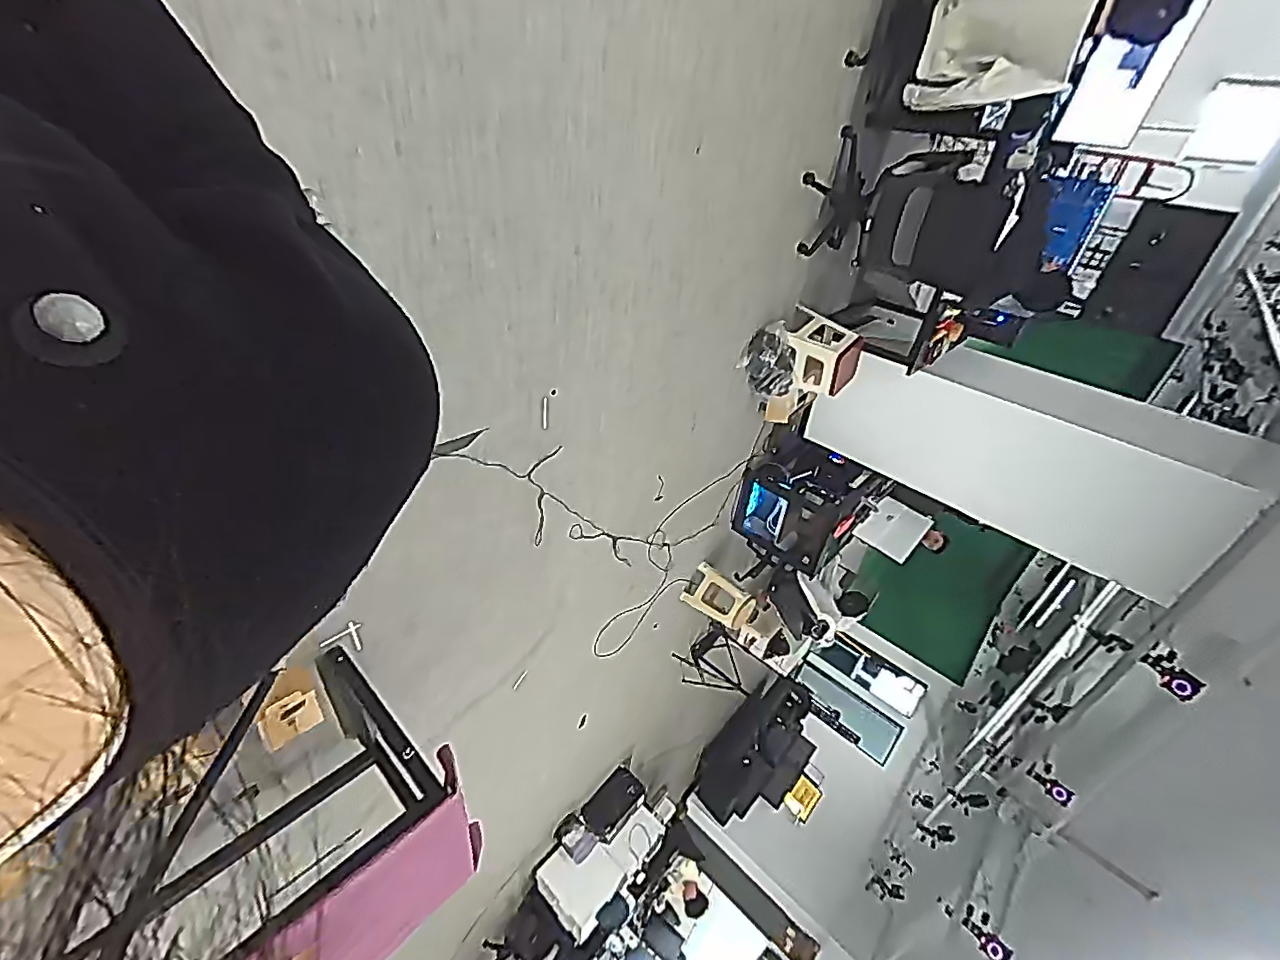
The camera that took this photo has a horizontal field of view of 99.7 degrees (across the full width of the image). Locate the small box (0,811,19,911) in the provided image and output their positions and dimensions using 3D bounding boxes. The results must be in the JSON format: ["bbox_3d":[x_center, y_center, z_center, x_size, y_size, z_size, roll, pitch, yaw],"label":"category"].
[{"bbox_3d":[-1.617,0.939,1.276,0.179,0.176,0.168,-12,126,-53],"label":"small box"}]

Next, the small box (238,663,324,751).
[{"bbox_3d":[-1.159,0.722,1.746,0.168,0.176,0.179,-28,139,-41],"label":"small box"}]
